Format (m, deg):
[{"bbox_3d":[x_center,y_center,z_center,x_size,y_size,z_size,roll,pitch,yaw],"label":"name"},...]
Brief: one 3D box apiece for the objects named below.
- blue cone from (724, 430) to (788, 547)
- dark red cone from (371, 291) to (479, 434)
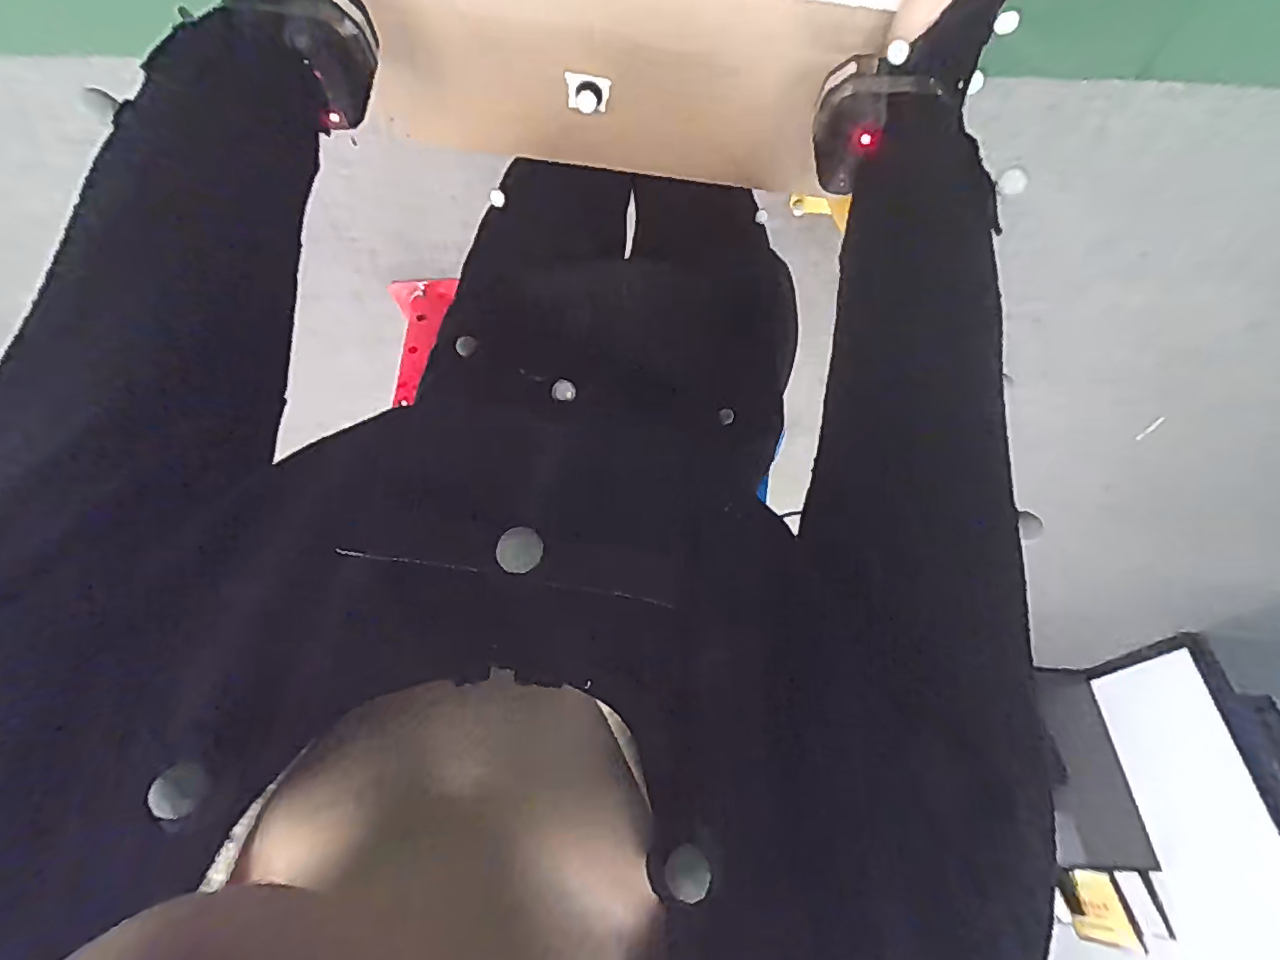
[{"bbox_3d":[0.367,0.033,1.685,0.192,0.380,0.193,3,146,2],"label":"blue cone"},{"bbox_3d":[-0.547,-0.266,1.292,0.202,0.394,0.201,-1,143,9],"label":"dark red cone"}]
